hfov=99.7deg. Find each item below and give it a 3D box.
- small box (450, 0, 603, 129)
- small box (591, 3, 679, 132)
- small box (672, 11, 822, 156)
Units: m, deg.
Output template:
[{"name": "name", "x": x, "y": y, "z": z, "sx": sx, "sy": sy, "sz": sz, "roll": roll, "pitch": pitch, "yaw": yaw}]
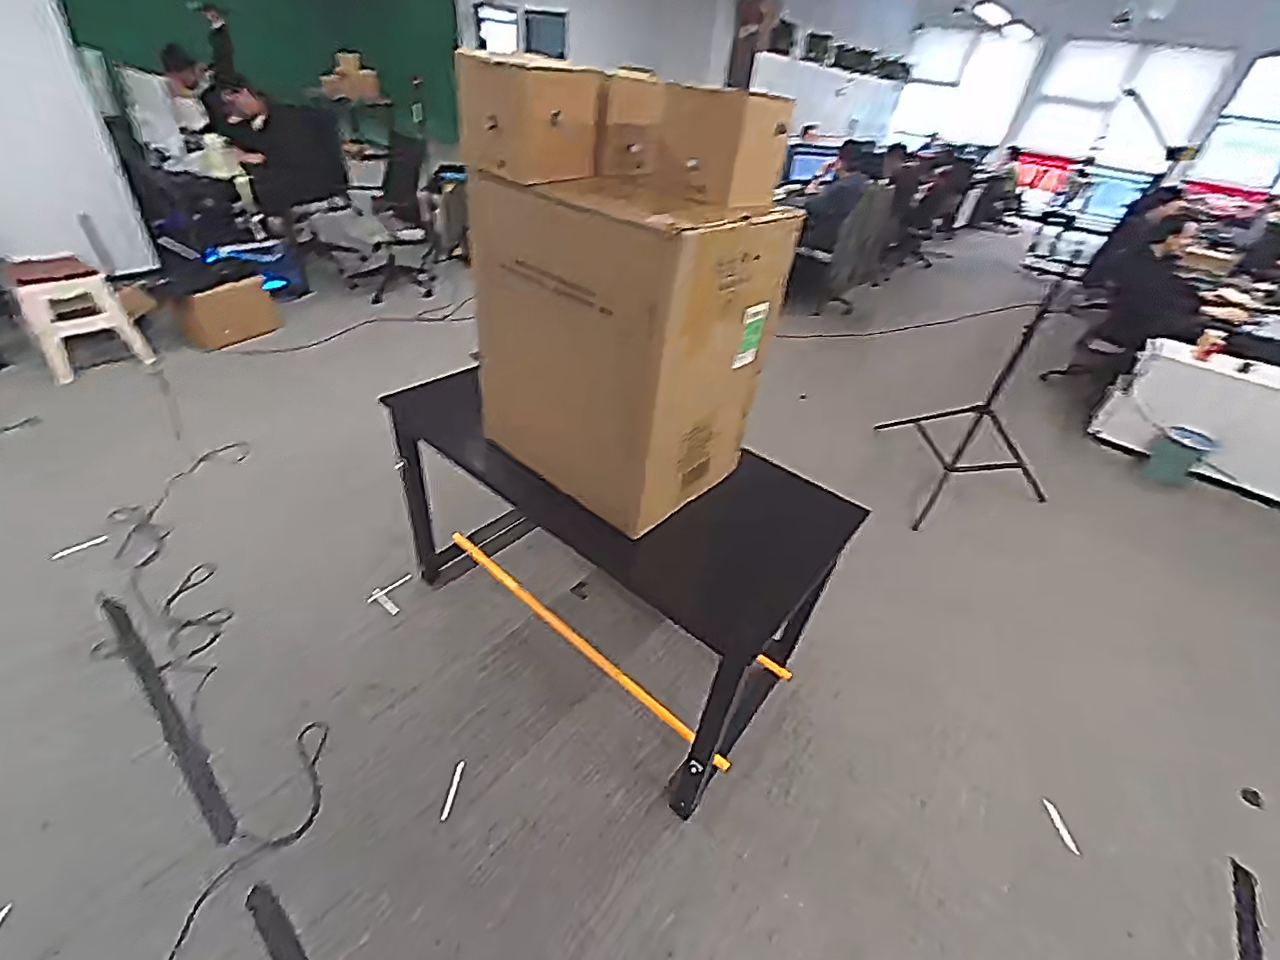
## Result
[{"name": "small box", "x": -0.179, "y": -0.689, "z": 0.882, "sx": 0.168, "sy": 0.176, "sz": 0.179, "roll": 31, "pitch": 46, "yaw": 21}, {"name": "small box", "x": -0.055, "y": -0.776, "z": 1.020, "sx": 0.179, "sy": 0.176, "sz": 0.168, "roll": 33, "pitch": 43, "yaw": 27}, {"name": "small box", "x": 0.171, "y": -0.647, "z": 0.897, "sx": 0.168, "sy": 0.176, "sz": 0.179, "roll": 29, "pitch": 40, "yaw": 27}]
